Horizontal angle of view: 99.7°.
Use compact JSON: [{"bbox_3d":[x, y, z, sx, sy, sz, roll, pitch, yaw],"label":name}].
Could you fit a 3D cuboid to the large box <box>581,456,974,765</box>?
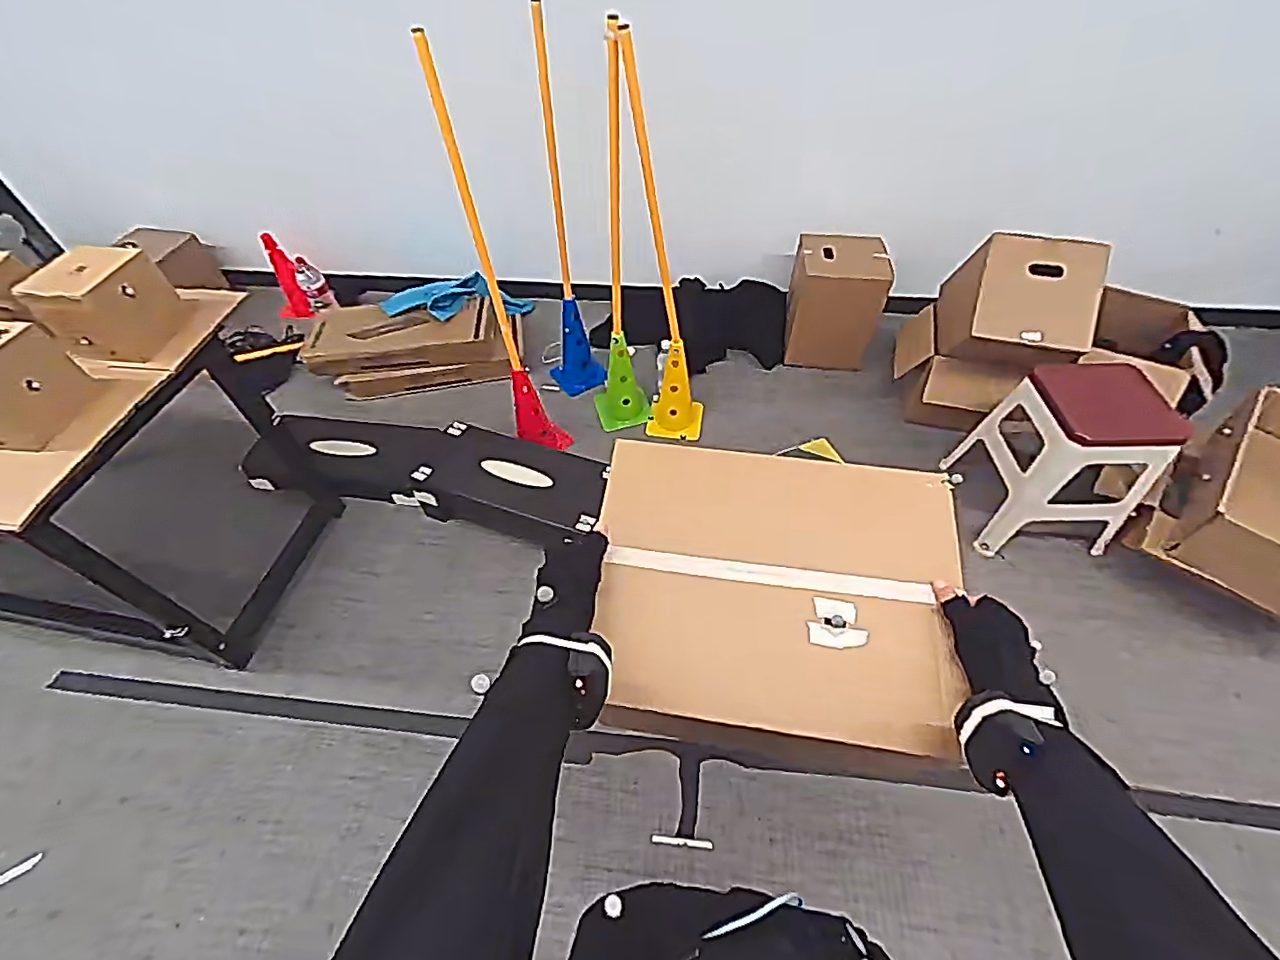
[{"bbox_3d":[0.155,0.191,0.746,0.408,0.320,0.320,7,62,6],"label":"large box"}]
